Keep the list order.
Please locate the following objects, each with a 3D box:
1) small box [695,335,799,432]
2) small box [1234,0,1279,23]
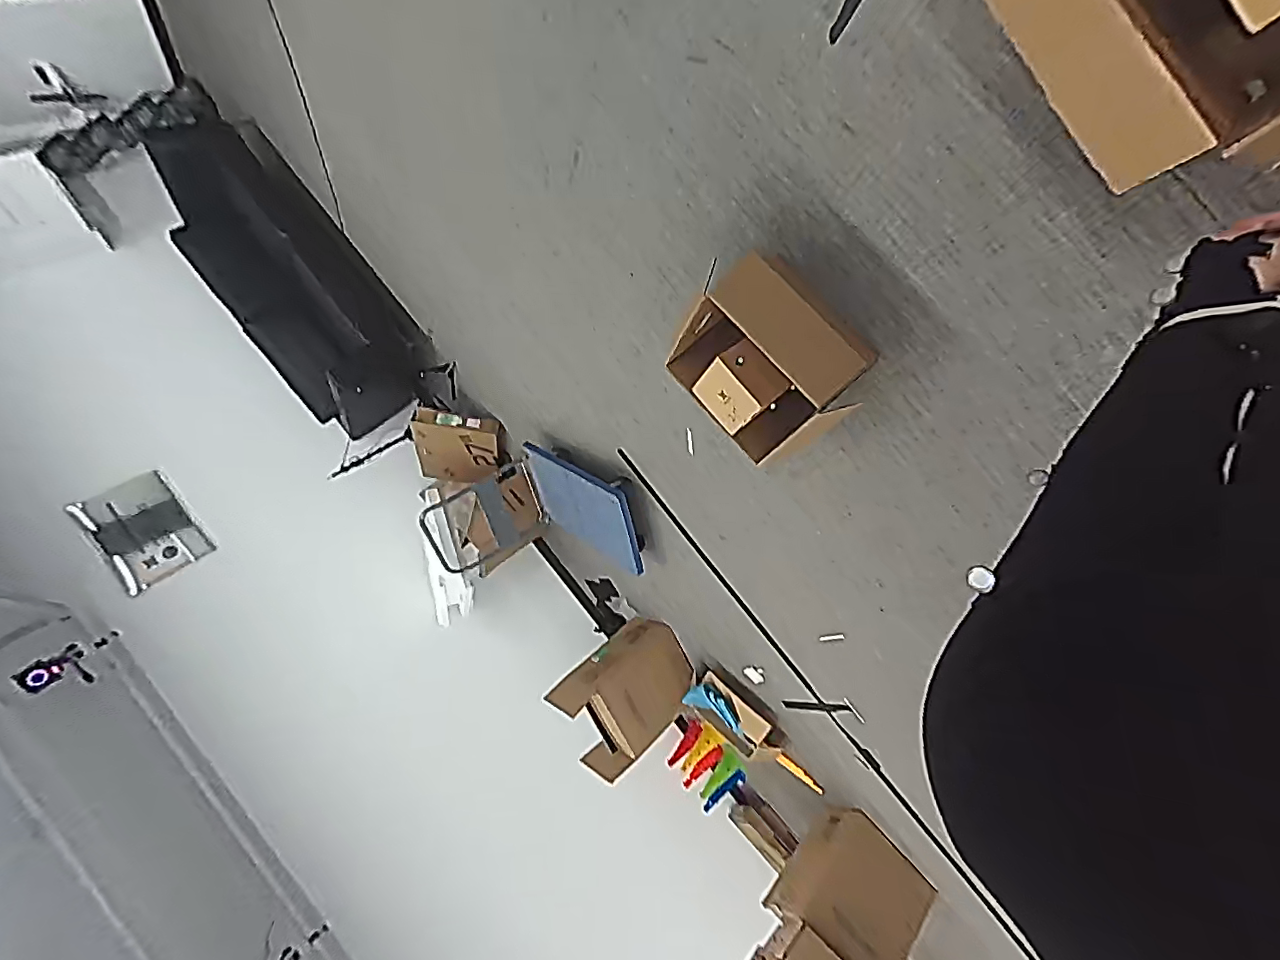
[{"bbox_3d":[0.288,-0.267,1.459,0.179,0.176,0.168,49,152,5],"label":"small box"},{"bbox_3d":[0.670,-0.599,0.522,0.179,0.176,0.168,56,149,-2],"label":"small box"}]
